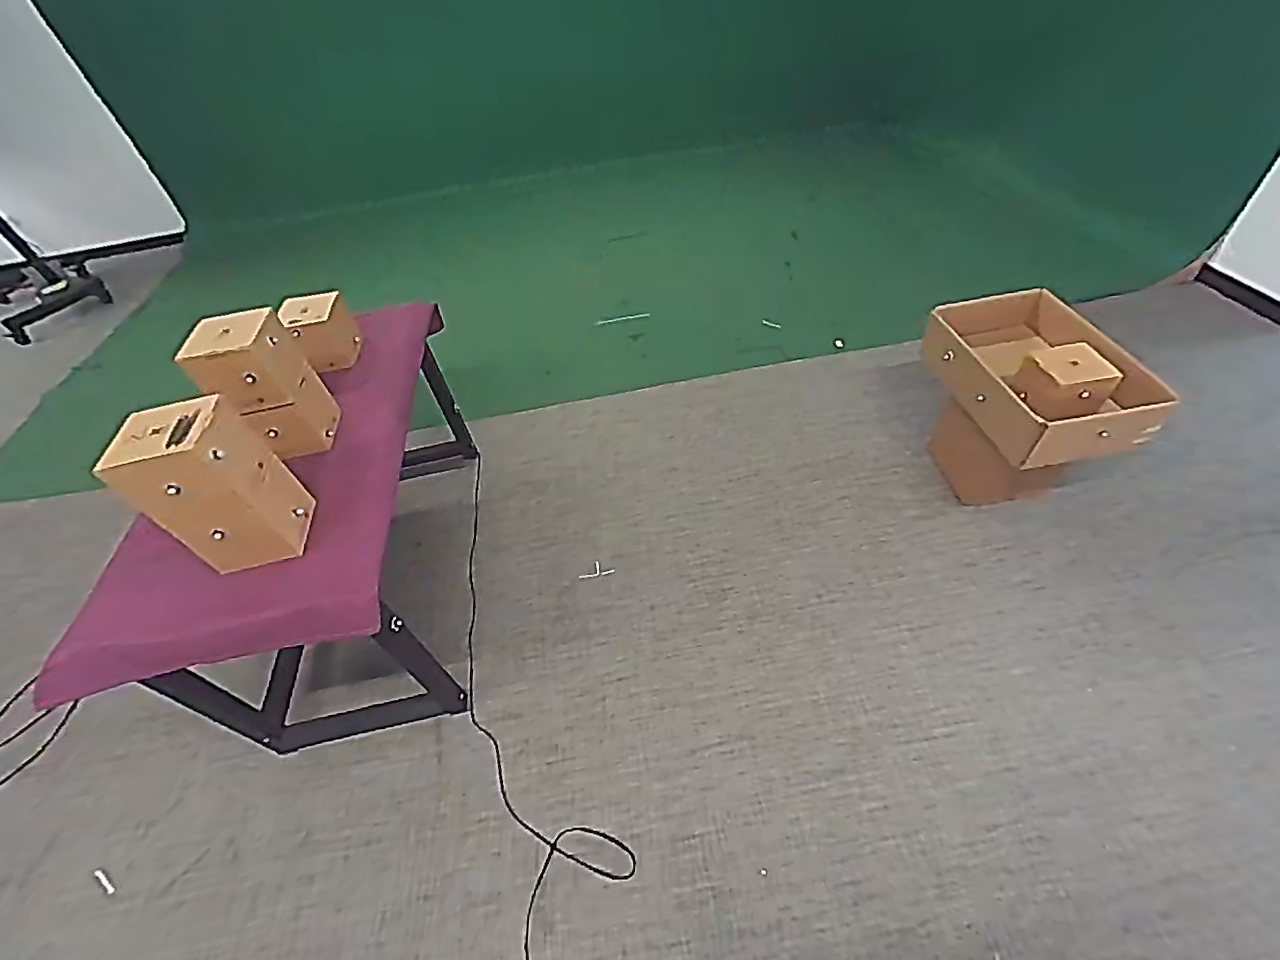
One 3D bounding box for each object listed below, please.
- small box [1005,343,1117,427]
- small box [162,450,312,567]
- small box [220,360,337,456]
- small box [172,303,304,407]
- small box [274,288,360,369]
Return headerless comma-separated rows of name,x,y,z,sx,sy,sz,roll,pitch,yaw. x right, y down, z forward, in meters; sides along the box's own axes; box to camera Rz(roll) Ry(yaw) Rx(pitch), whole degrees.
small box,1.246,-0.282,1.617,0.179,0.176,0.168,-9,49,0
small box,-0.854,0.066,1.166,0.179,0.176,0.168,-13,48,-4
small box,-0.922,-0.181,1.400,0.179,0.176,0.168,-12,48,-3
small box,-0.935,-0.290,1.280,0.168,0.176,0.179,-11,47,-4
small box,-0.989,-0.463,1.662,0.168,0.176,0.179,-11,48,-2
